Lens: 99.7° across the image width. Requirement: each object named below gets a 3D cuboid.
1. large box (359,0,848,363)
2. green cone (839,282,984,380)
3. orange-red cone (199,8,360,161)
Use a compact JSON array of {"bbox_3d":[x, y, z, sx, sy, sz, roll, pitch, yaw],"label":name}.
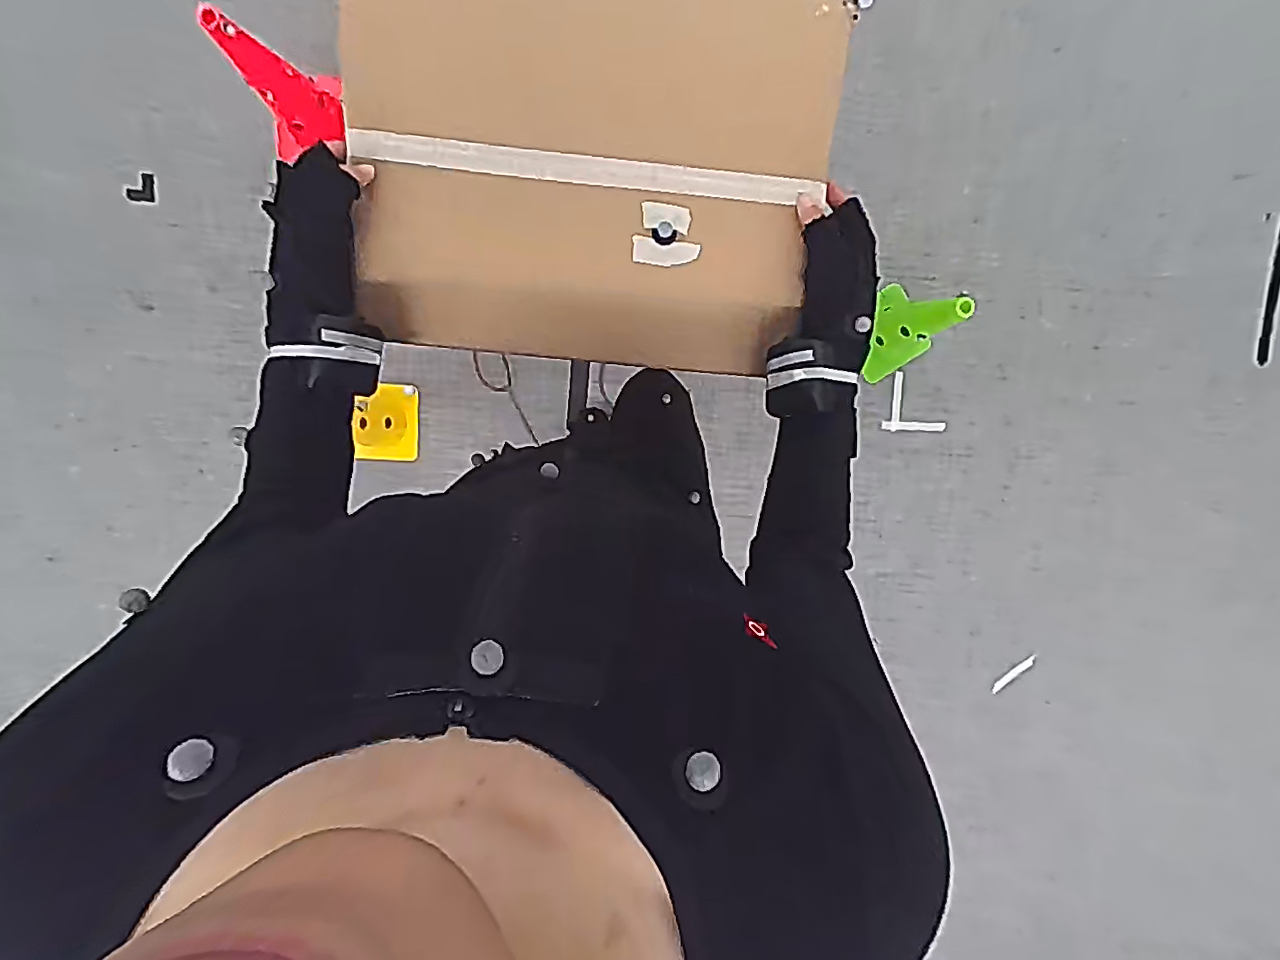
[{"bbox_3d":[-0.045,-0.306,0.611,0.408,0.320,0.320,5,104,-4],"label":"large box"},{"bbox_3d":[0.658,-0.372,1.259,0.202,0.368,0.200,-34,97,1],"label":"green cone"},{"bbox_3d":[-0.793,-0.871,1.168,0.198,0.360,0.199,2,99,0],"label":"orange-red cone"}]
